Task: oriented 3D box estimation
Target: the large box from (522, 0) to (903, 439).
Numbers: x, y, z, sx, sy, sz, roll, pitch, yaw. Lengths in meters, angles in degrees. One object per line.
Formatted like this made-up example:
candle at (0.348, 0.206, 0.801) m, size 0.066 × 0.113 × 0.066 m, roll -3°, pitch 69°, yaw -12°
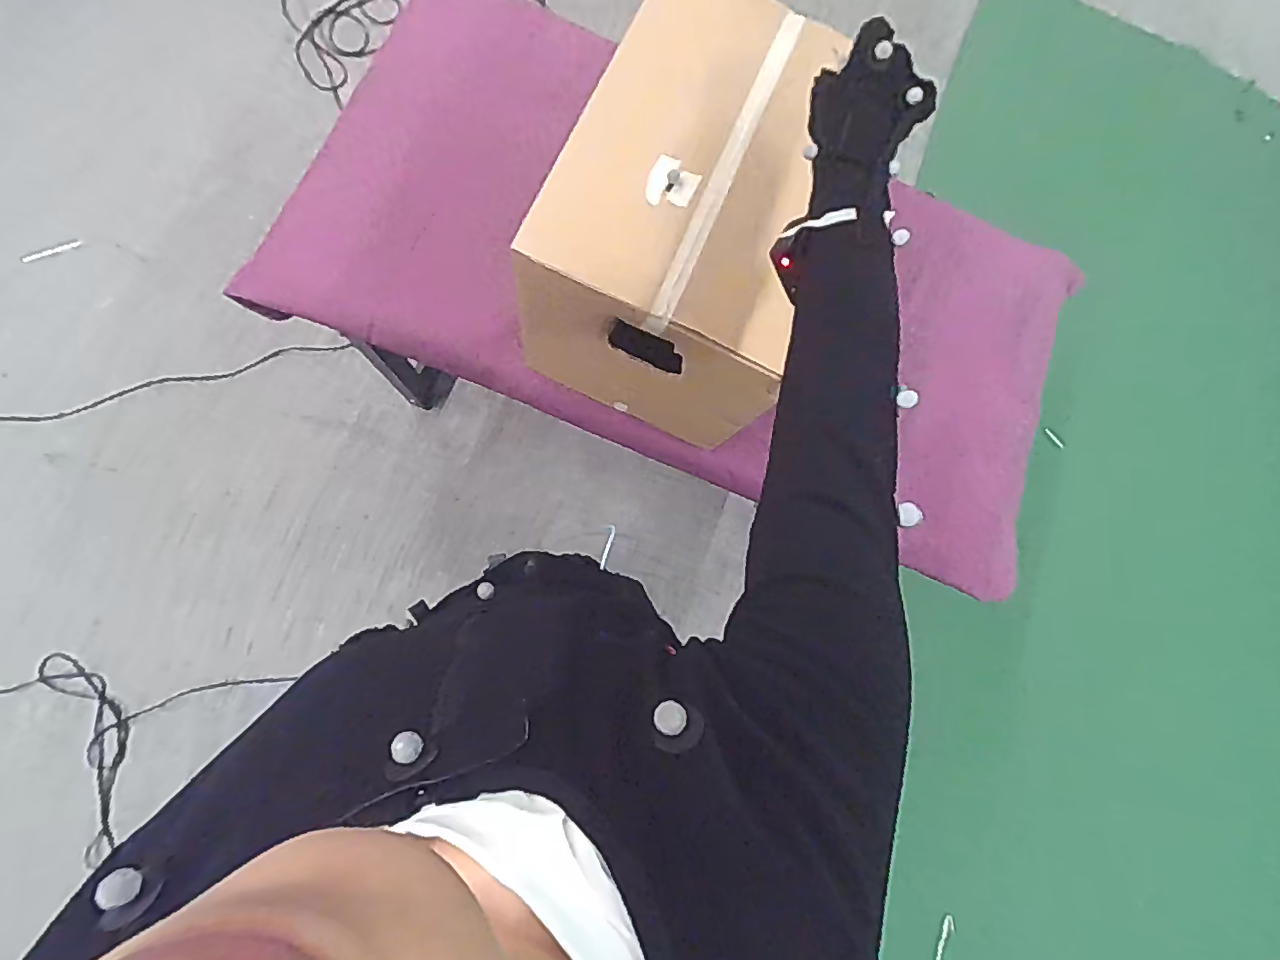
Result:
large box at (0.071, -0.320, 0.721) m, size 0.320 × 0.320 × 0.408 m, roll 25°, pitch 79°, yaw -5°
